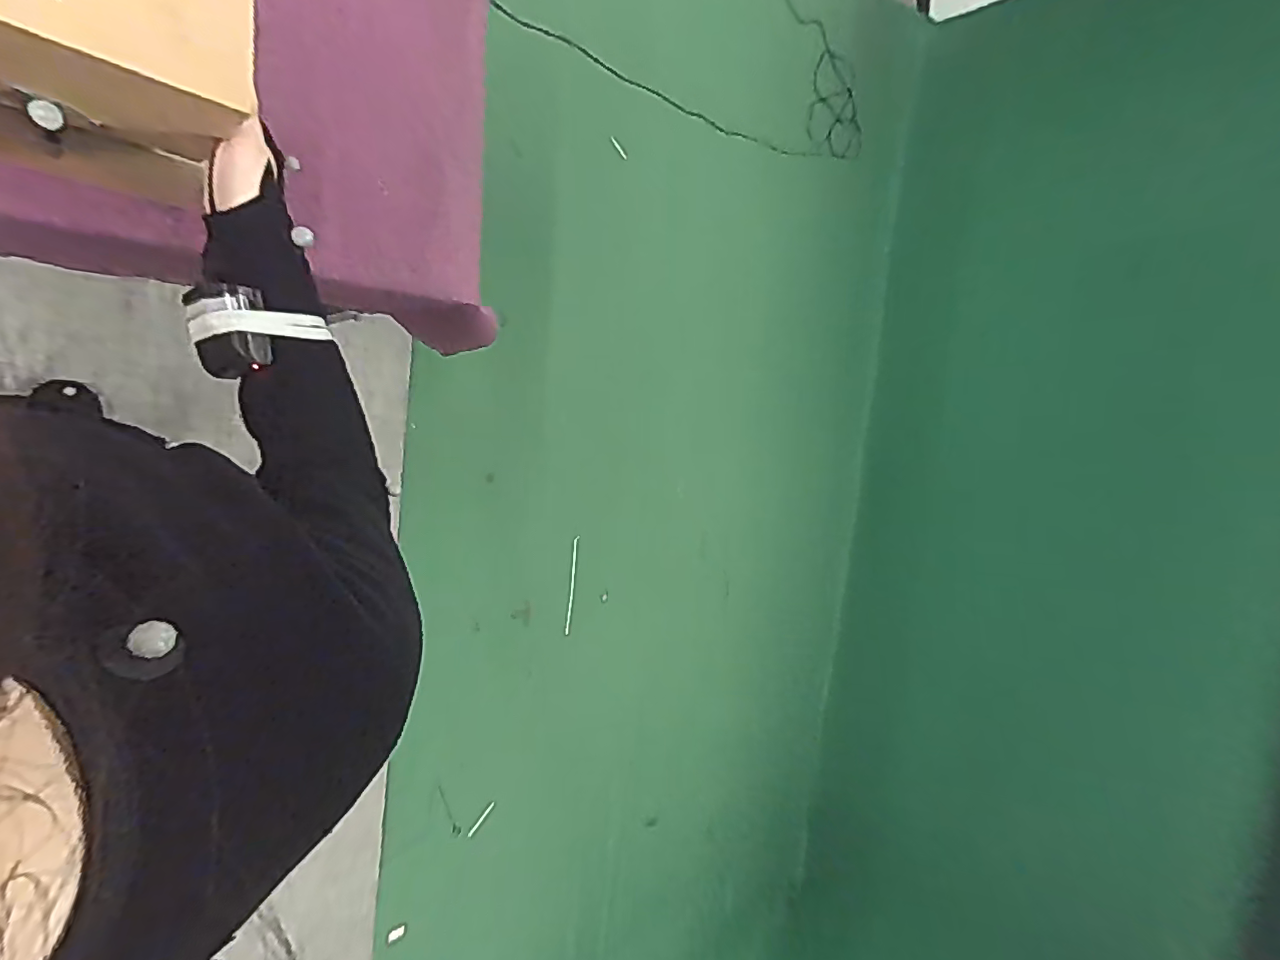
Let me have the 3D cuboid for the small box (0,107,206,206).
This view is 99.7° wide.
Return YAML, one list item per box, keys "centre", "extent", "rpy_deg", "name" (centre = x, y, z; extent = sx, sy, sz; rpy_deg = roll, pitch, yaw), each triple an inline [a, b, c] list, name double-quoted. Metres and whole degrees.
- centre: [-0.495, -0.361, 0.466]
  extent: [0.179, 0.176, 0.168]
  rpy_deg: [-1, 98, -45]
  name: "small box"

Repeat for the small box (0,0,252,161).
- centre: [-0.344, -0.320, 0.315]
  extent: [0.168, 0.176, 0.179]
  rpy_deg: [-4, 105, -46]
  name: "small box"
